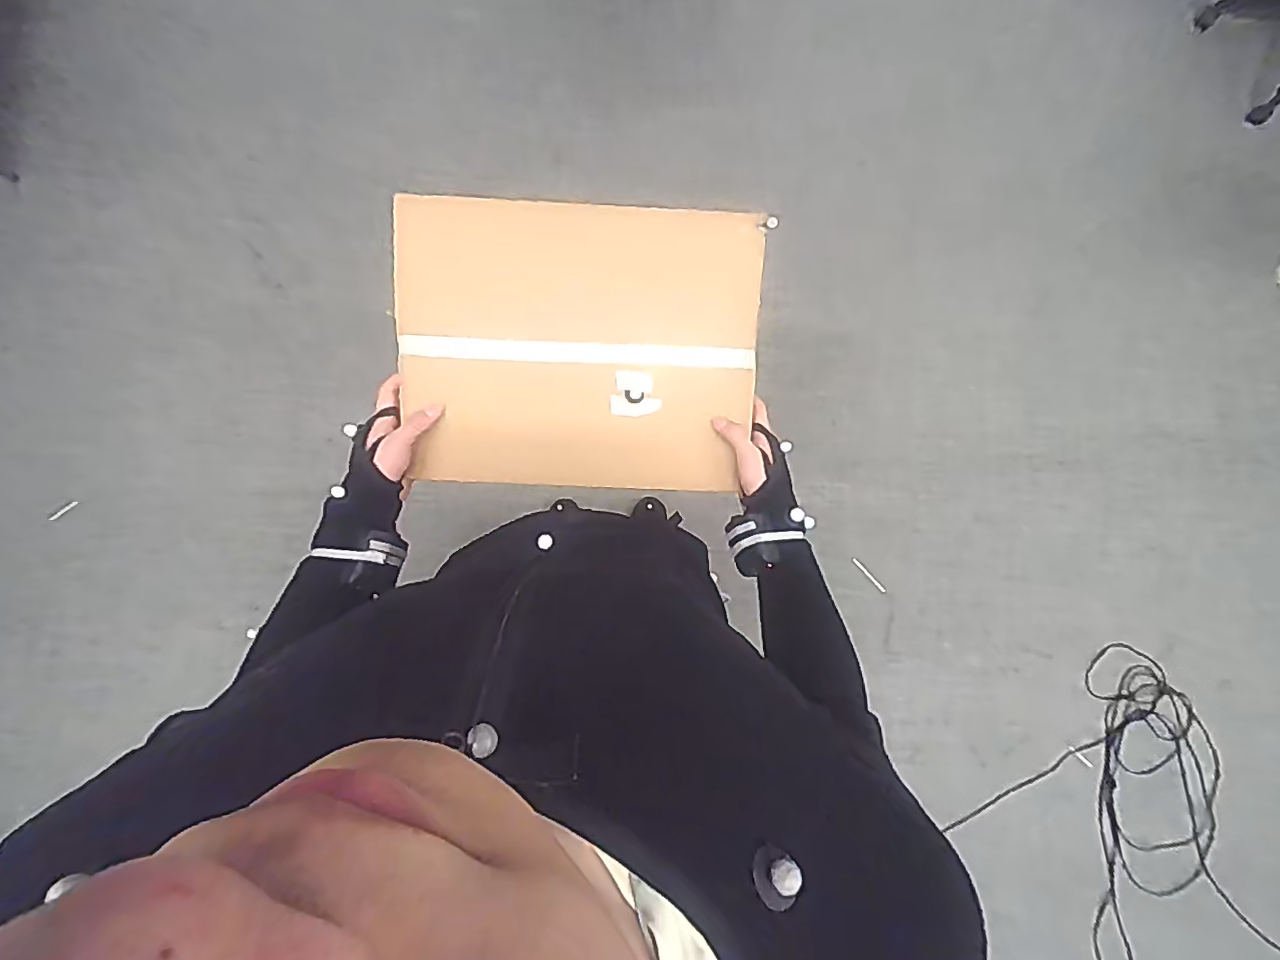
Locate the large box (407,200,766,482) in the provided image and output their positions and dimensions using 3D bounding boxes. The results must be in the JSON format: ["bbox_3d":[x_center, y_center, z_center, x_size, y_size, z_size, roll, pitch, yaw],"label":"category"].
[{"bbox_3d":[-0.067,-0.178,0.768,0.408,0.320,0.320,2,102,-2],"label":"large box"}]
